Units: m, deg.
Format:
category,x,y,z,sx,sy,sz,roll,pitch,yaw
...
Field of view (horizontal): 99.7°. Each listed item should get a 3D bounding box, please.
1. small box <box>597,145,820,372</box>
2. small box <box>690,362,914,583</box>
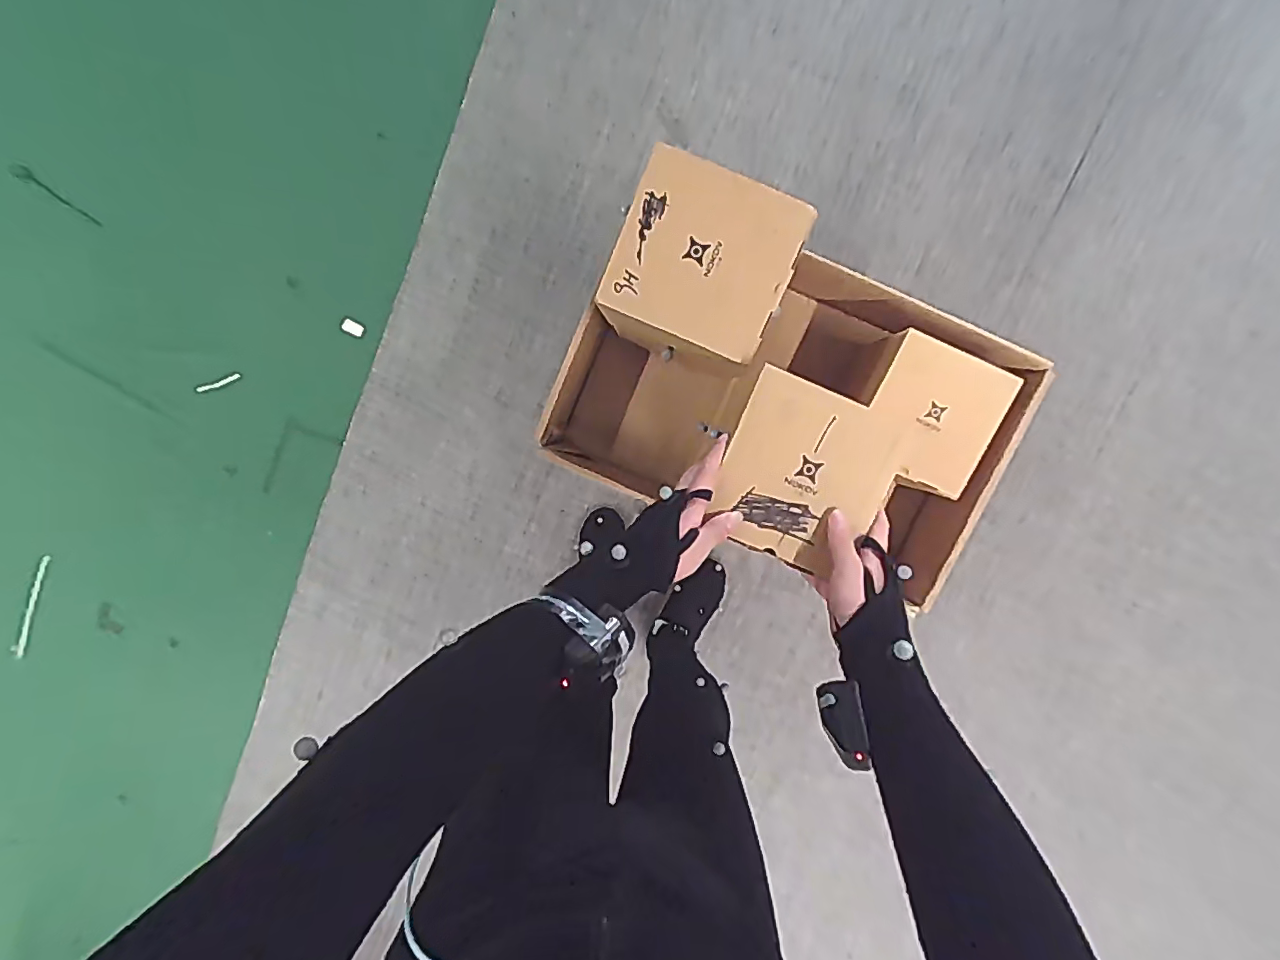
category,x,y,z,sx,sy,sz,roll,pitch,yaw
small box,0.070,-0.232,0.619,0.179,0.176,0.168,24,98,-1
small box,0.164,-0.012,0.613,0.168,0.176,0.179,23,94,-2
